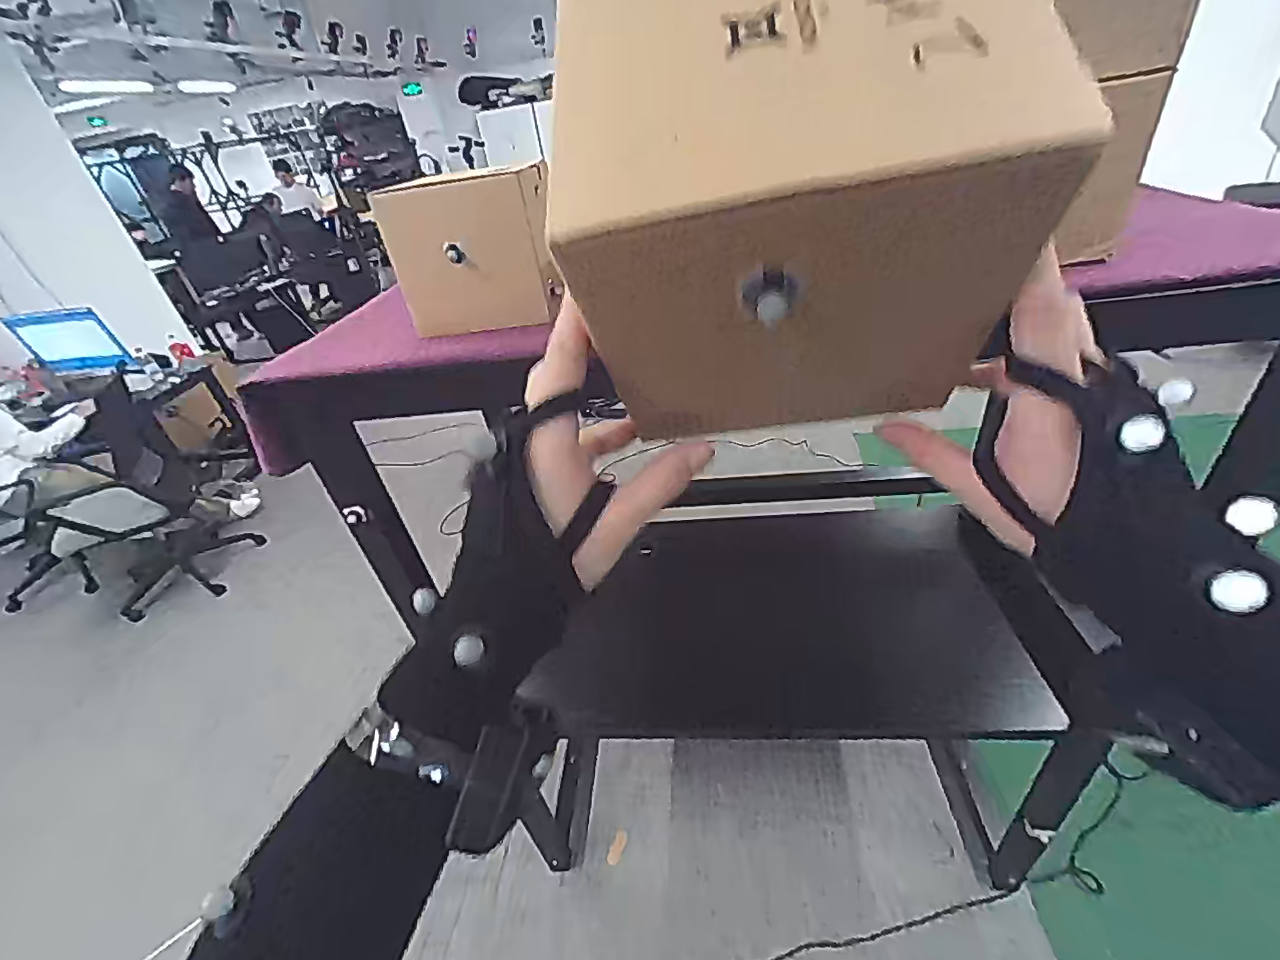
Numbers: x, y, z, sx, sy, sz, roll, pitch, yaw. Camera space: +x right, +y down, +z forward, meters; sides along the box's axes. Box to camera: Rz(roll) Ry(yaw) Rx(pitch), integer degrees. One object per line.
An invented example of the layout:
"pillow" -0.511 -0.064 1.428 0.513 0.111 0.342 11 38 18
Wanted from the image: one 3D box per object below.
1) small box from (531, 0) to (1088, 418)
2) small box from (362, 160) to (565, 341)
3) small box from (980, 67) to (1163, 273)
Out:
"small box" 0.063 -0.143 0.274 0.179 0.176 0.168 -6 69 11
"small box" -0.205 -0.293 0.691 0.179 0.176 0.168 -6 34 7
"small box" 0.404 -0.336 0.602 0.179 0.176 0.168 -2 35 12
